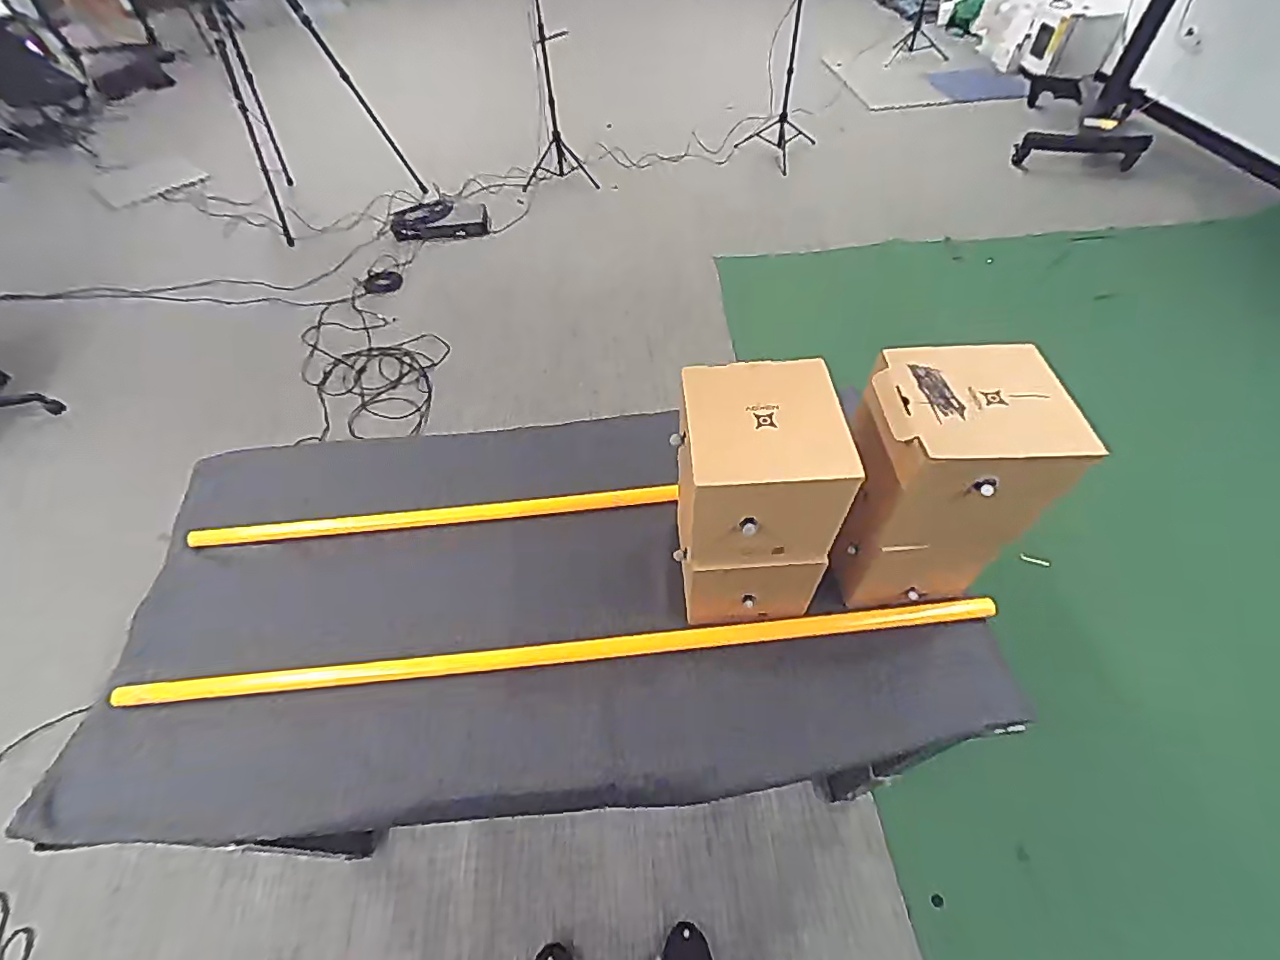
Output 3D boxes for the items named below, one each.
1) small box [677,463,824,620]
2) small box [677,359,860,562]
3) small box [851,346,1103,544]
[{"bbox_3d":[0.141,0.087,0.756,0.168,0.176,0.179,-3,52,0],"label":"small box"},{"bbox_3d":[0.133,-0.015,0.629,0.168,0.176,0.179,-4,52,1],"label":"small box"},{"bbox_3d":[0.361,-0.035,0.630,0.179,0.176,0.168,-1,53,1],"label":"small box"}]
